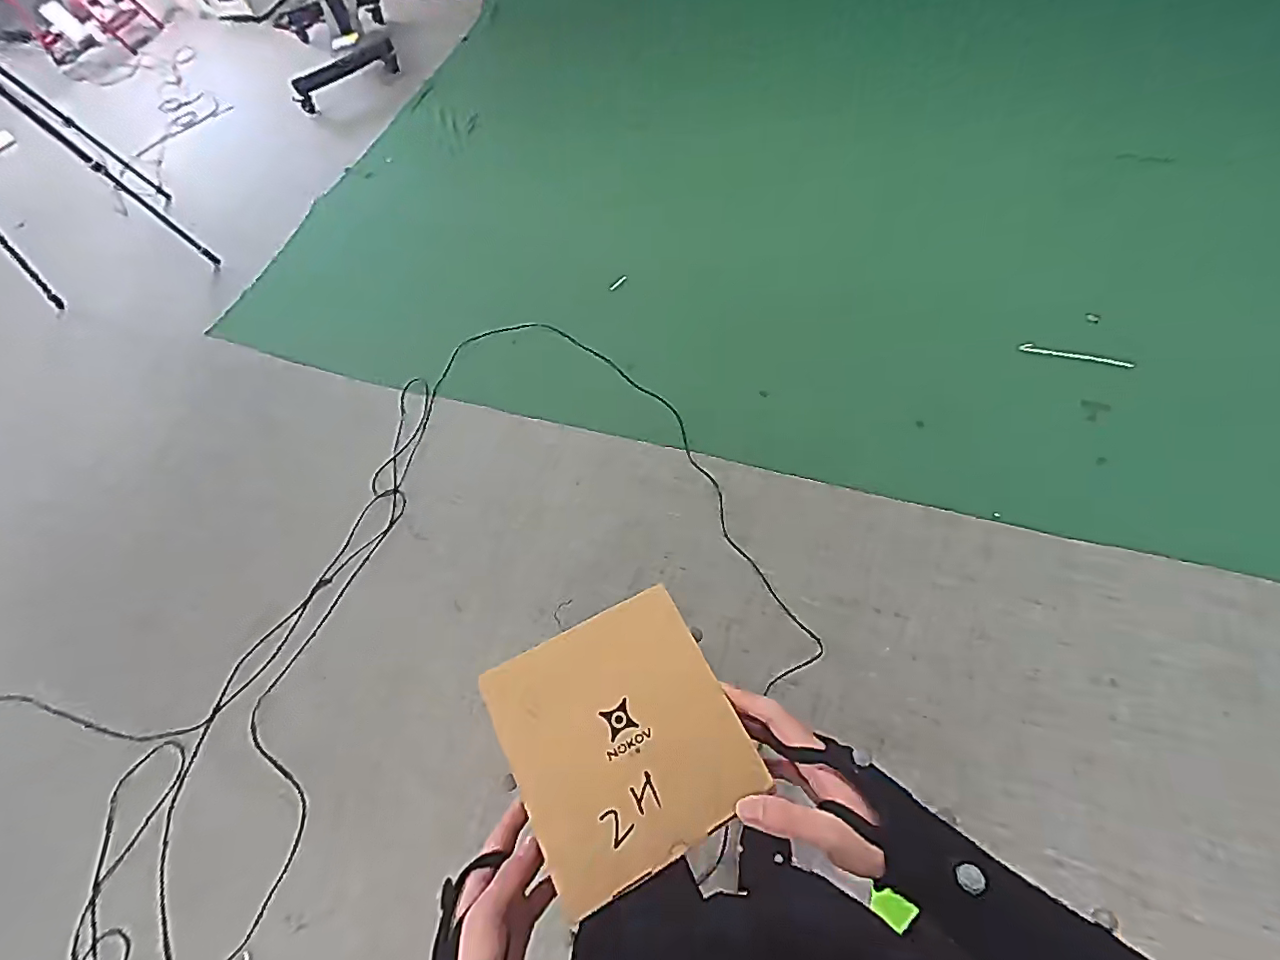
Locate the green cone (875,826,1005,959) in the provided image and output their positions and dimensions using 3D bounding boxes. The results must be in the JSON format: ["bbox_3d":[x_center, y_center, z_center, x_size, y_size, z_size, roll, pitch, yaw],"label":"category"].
[{"bbox_3d":[0.599,0.812,1.022,0.202,0.368,0.200,15,65,17],"label":"green cone"}]
